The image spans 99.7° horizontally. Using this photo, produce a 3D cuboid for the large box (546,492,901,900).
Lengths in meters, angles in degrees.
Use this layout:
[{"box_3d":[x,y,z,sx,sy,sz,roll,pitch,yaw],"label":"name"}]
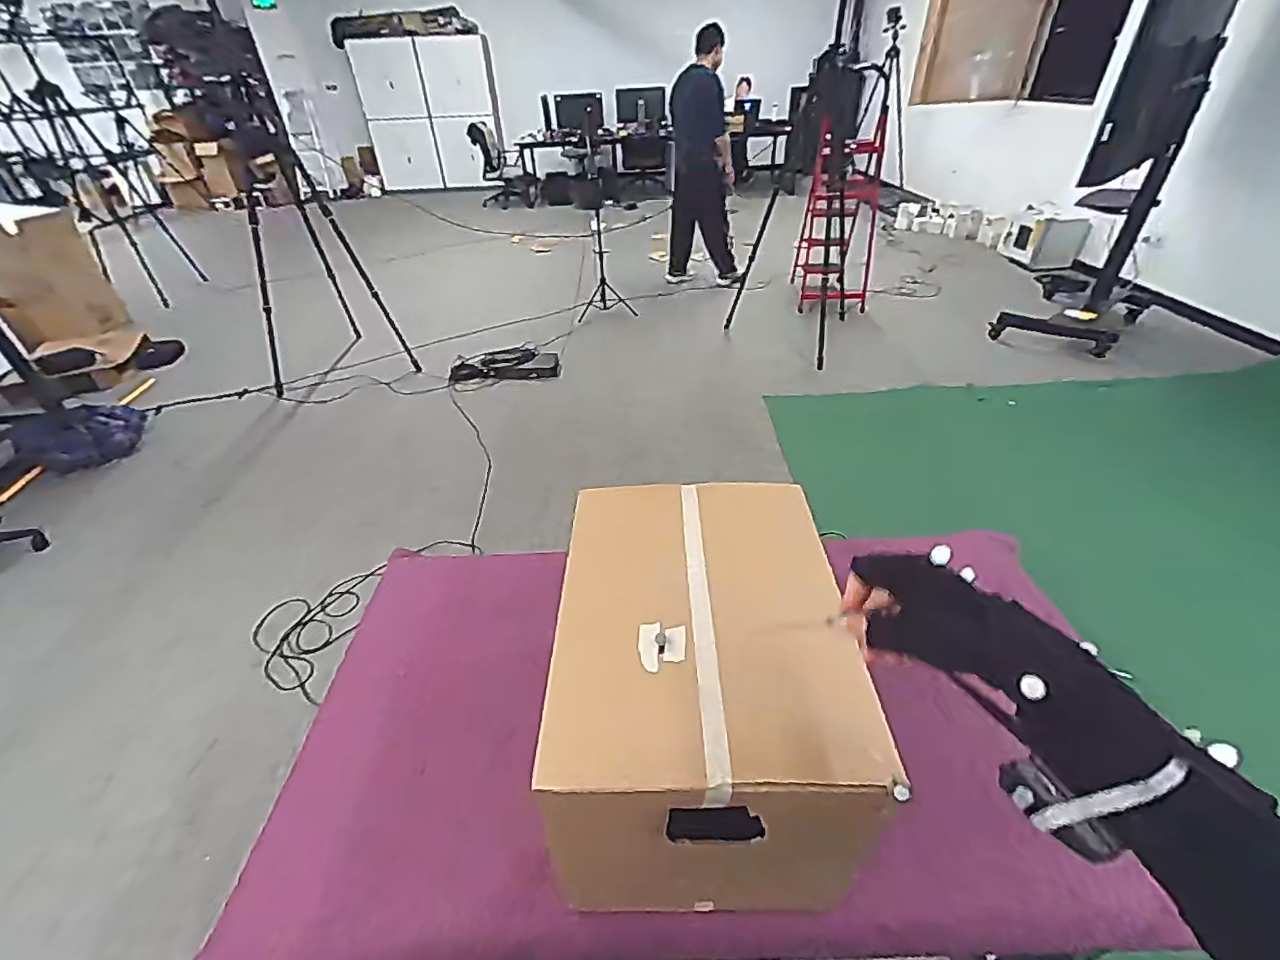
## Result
[{"box_3d":[0.072,0.258,0.706,0.320,0.320,0.408,-1,38,2],"label":"large box"}]
